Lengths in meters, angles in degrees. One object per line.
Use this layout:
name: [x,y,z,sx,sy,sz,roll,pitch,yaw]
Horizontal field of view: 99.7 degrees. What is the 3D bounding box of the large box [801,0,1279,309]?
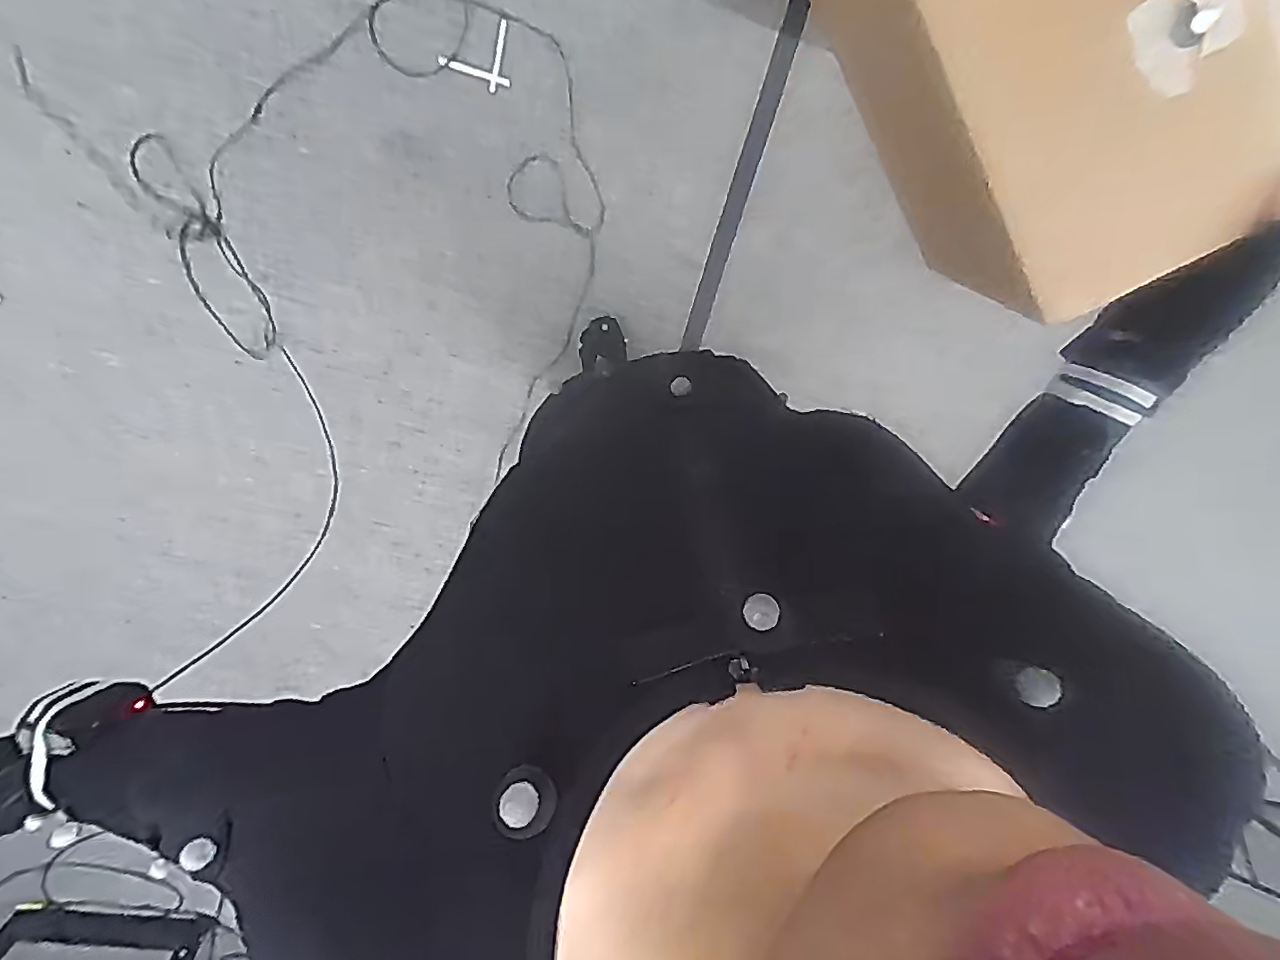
large box: [0.340,-0.416,0.421,0.320,0.320,0.408,-29,110,25]
